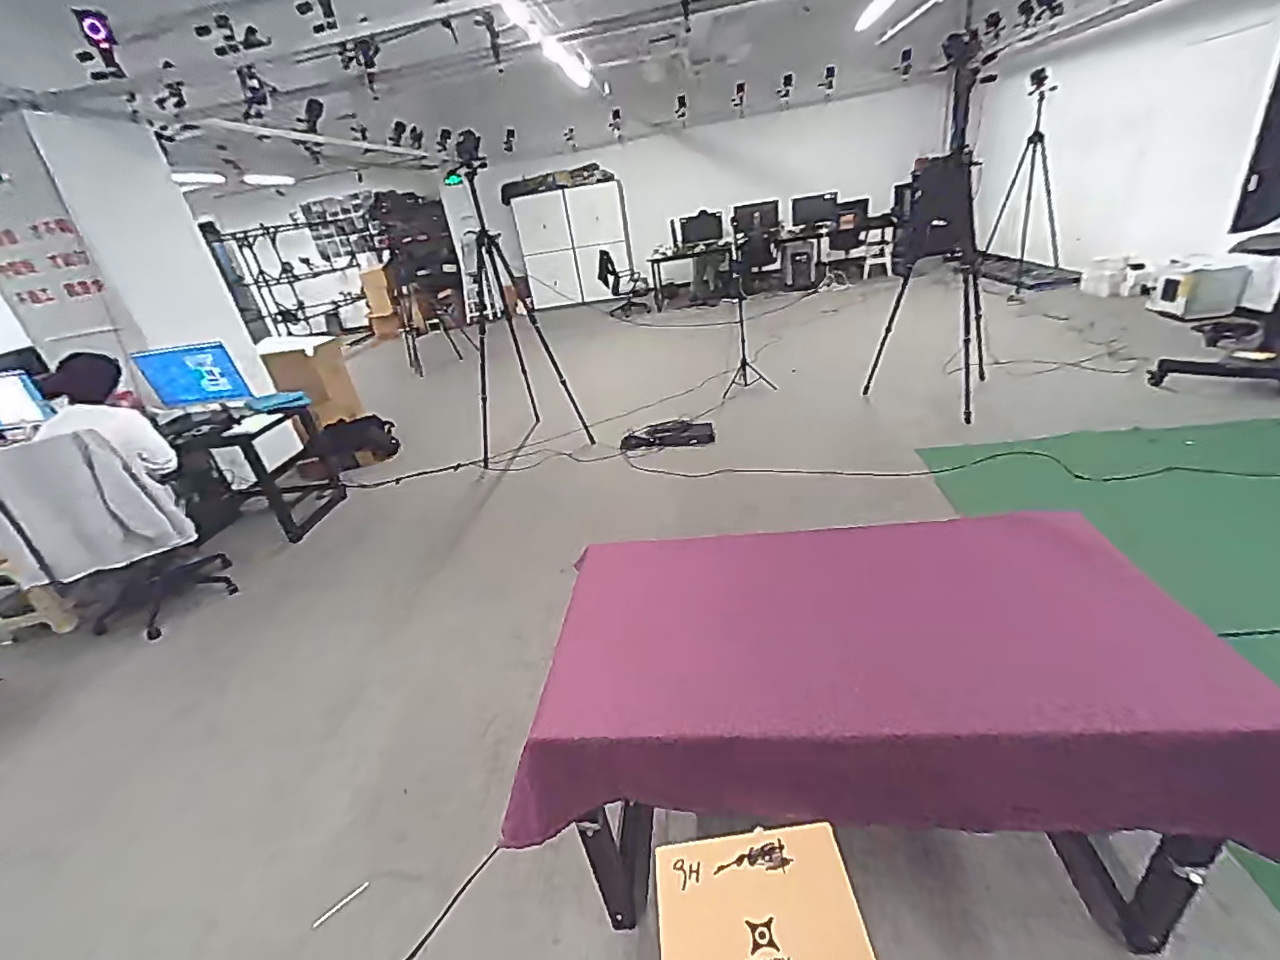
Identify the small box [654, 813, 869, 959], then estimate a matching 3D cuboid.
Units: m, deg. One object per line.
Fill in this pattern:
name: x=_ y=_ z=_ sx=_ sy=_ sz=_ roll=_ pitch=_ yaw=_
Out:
small box: x=0.110 y=0.435 z=0.473 sx=0.168 sy=0.176 sz=0.179 roll=-11 pitch=29 yaw=4
